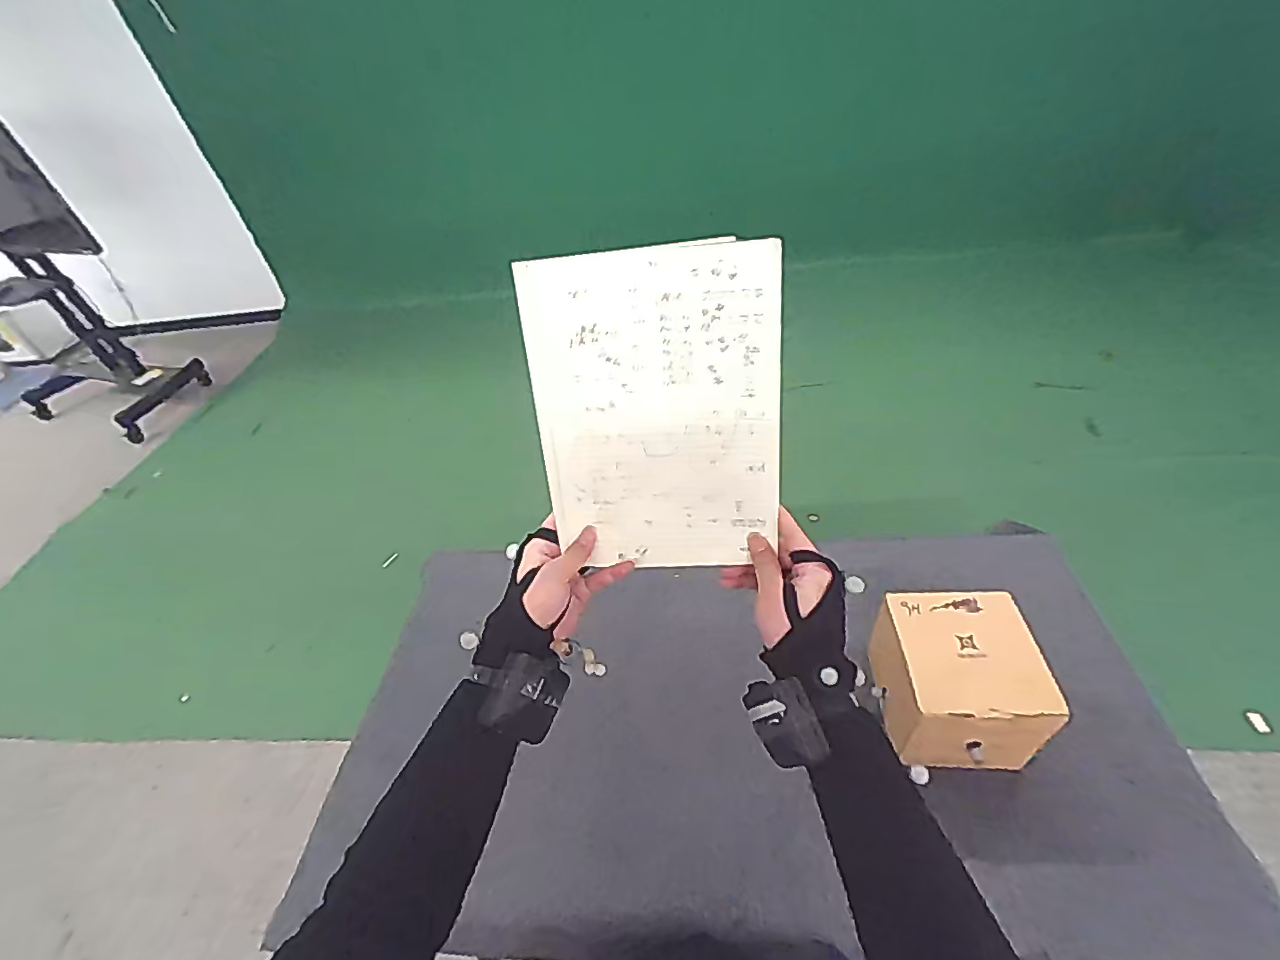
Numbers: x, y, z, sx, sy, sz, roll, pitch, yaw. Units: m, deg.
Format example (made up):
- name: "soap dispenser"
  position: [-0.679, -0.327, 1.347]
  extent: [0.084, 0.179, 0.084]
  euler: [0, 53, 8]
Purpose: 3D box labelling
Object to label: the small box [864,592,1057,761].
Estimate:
- name: "small box"
  position: [0.428, 0.277, 0.758]
  extent: [0.168, 0.176, 0.179]
  euler: [-2, 45, 8]
